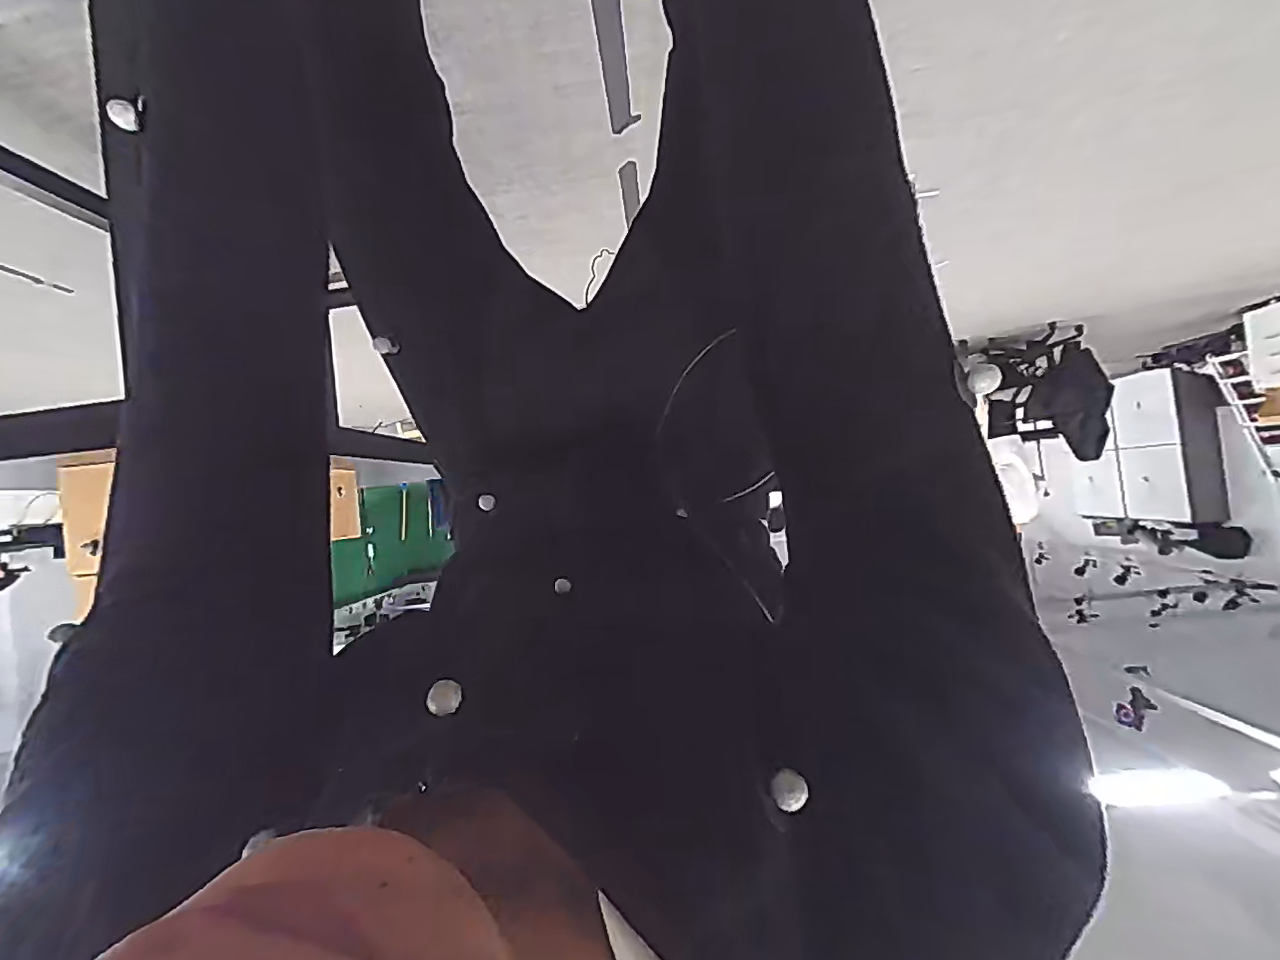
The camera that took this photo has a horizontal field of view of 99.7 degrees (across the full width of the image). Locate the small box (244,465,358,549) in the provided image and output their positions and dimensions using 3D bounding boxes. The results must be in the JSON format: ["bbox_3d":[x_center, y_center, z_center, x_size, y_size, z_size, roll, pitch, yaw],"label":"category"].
[{"bbox_3d":[-0.785,0.062,1.252,0.179,0.176,0.168,-7,179,5],"label":"small box"}]
